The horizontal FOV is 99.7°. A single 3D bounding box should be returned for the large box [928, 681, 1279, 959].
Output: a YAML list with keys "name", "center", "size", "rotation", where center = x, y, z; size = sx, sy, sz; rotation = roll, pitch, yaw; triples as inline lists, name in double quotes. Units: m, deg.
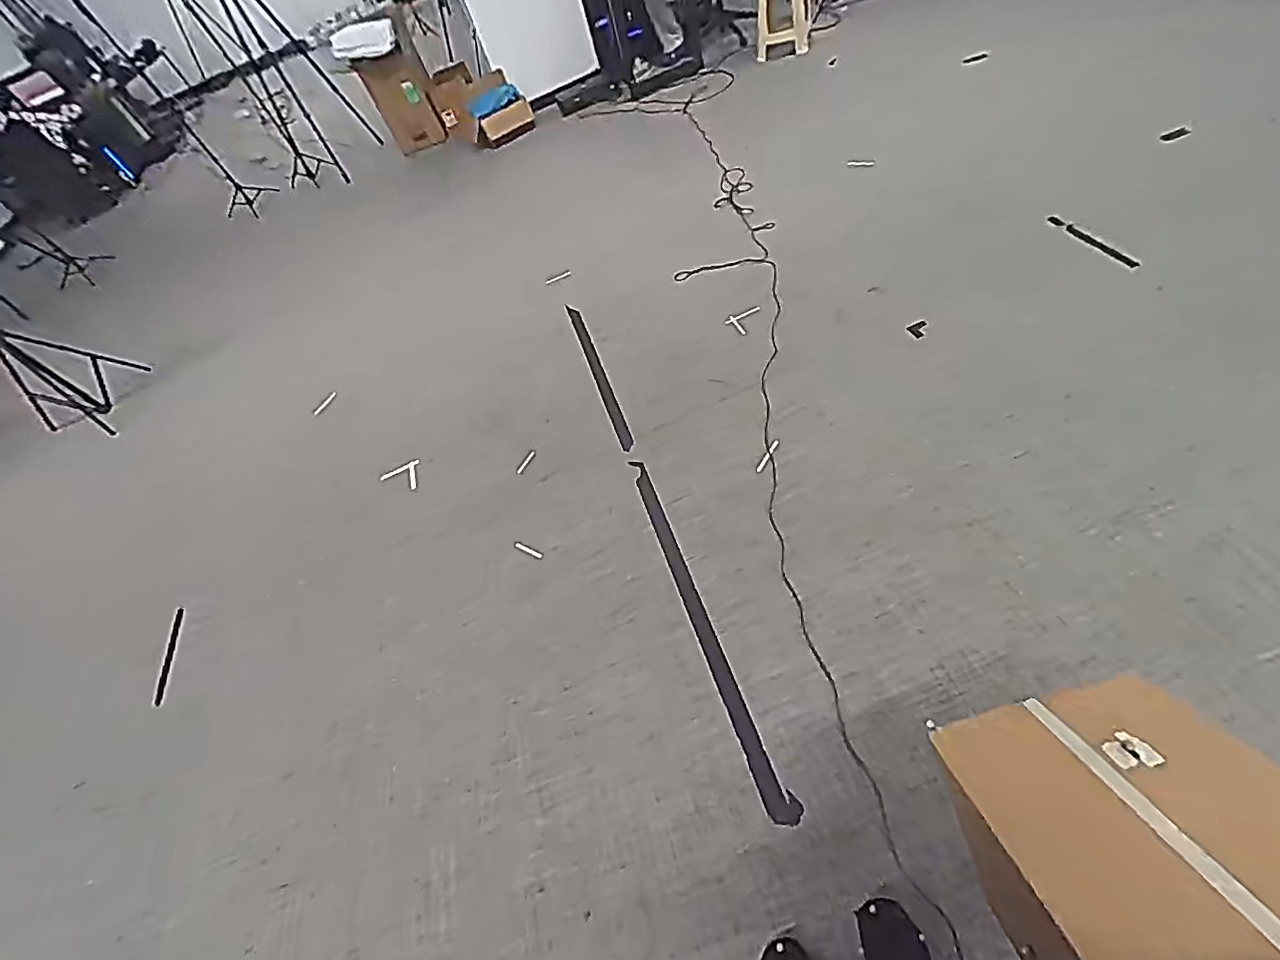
- name: "large box"
  center: [0.637, 0.528, 0.658]
  size: [0.320, 0.320, 0.408]
  rotation: [-20, 9, 7]
